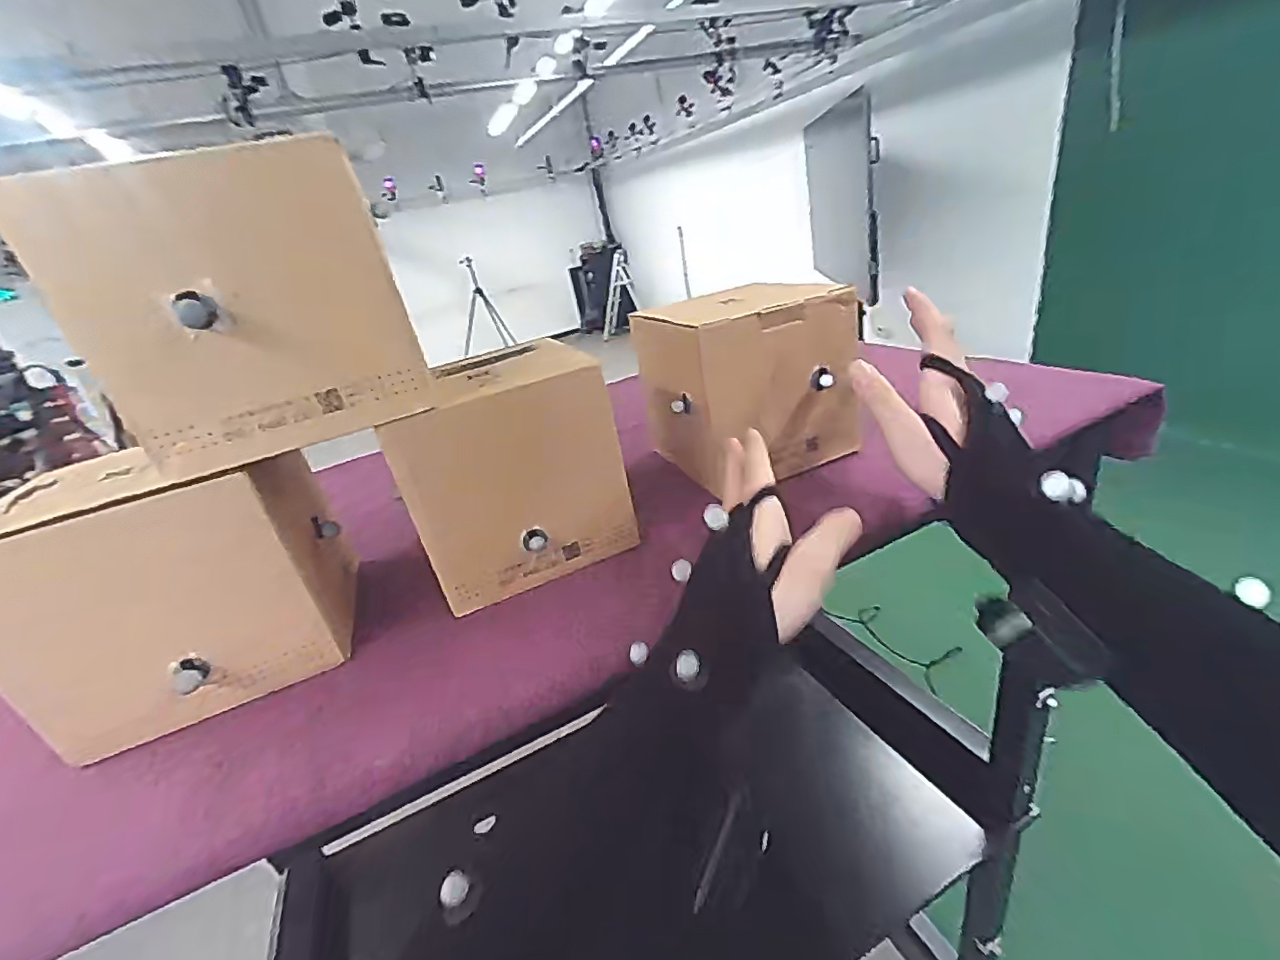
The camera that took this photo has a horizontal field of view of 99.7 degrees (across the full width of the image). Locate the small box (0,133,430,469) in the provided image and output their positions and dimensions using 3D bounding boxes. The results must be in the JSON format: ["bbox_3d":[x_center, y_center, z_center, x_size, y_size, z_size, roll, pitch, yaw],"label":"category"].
[{"bbox_3d":[-0.262,-0.122,0.389,0.168,0.176,0.179,-20,26,-15],"label":"small box"}]

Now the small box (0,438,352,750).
[{"bbox_3d":[-0.349,0.064,0.424,0.179,0.176,0.168,-20,26,-17],"label":"small box"}]

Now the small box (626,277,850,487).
[{"bbox_3d":[0.103,-0.107,0.573,0.168,0.176,0.179,-19,25,-14],"label":"small box"}]
